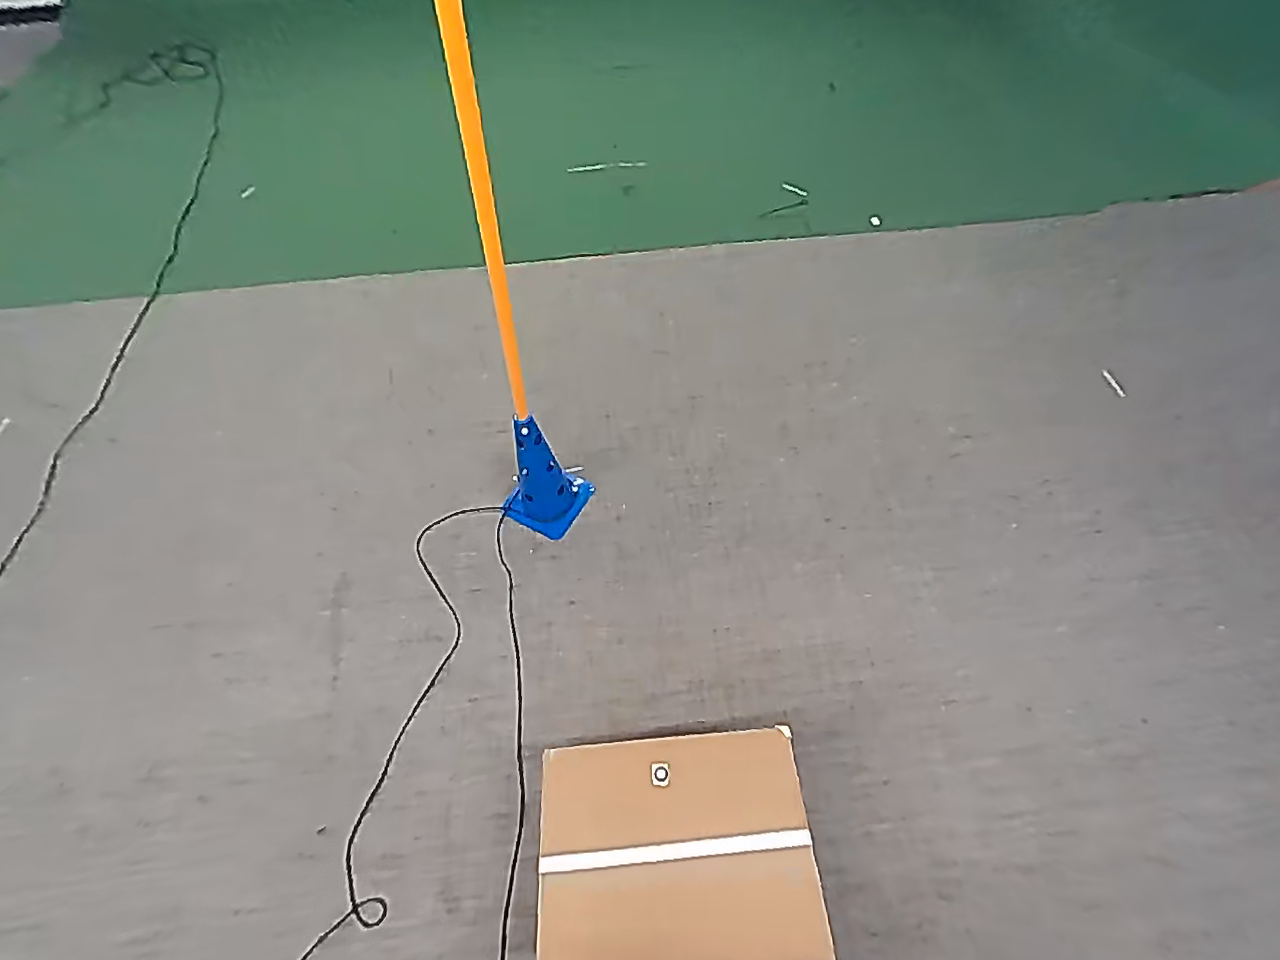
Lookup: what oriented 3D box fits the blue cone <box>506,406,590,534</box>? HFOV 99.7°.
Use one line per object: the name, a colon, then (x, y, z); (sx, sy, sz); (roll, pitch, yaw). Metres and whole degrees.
blue cone: (-0.251, -0.048, 1.334); (0.192, 0.380, 0.193); (23, 59, 14)
